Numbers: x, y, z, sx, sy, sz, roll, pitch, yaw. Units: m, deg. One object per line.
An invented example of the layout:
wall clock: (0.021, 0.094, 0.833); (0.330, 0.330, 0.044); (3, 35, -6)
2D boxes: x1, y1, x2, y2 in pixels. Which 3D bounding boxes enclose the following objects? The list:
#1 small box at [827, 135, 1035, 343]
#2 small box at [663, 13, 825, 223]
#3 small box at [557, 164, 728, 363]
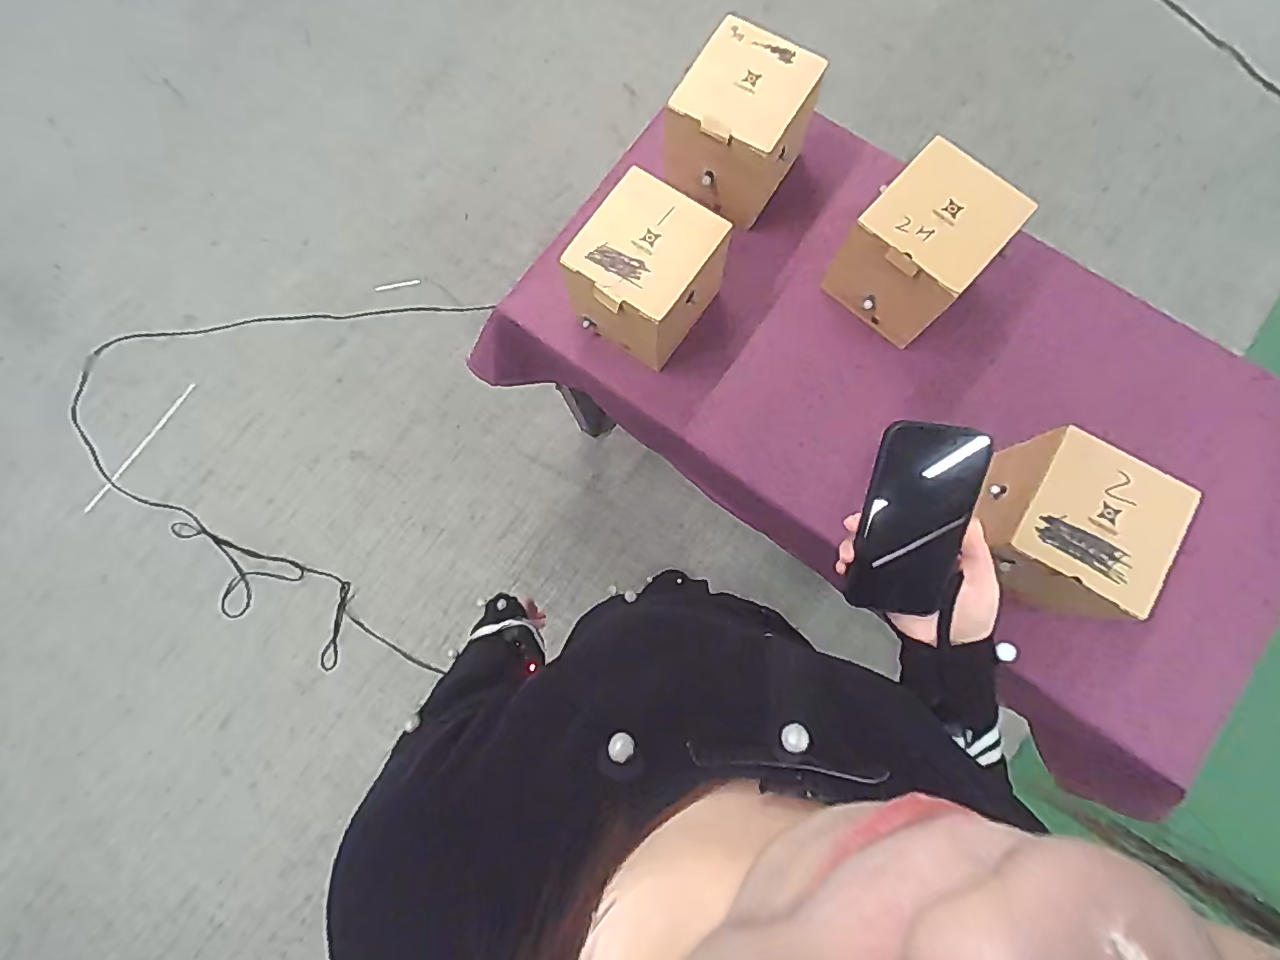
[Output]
small box: (0.402, -0.336, 0.784); (0.168, 0.176, 0.179); (43, 85, 9)
small box: (0.150, -0.540, 0.831); (0.168, 0.176, 0.179); (32, 84, 7)
small box: (0.007, -0.303, 0.795); (0.168, 0.176, 0.179); (35, 82, 7)
